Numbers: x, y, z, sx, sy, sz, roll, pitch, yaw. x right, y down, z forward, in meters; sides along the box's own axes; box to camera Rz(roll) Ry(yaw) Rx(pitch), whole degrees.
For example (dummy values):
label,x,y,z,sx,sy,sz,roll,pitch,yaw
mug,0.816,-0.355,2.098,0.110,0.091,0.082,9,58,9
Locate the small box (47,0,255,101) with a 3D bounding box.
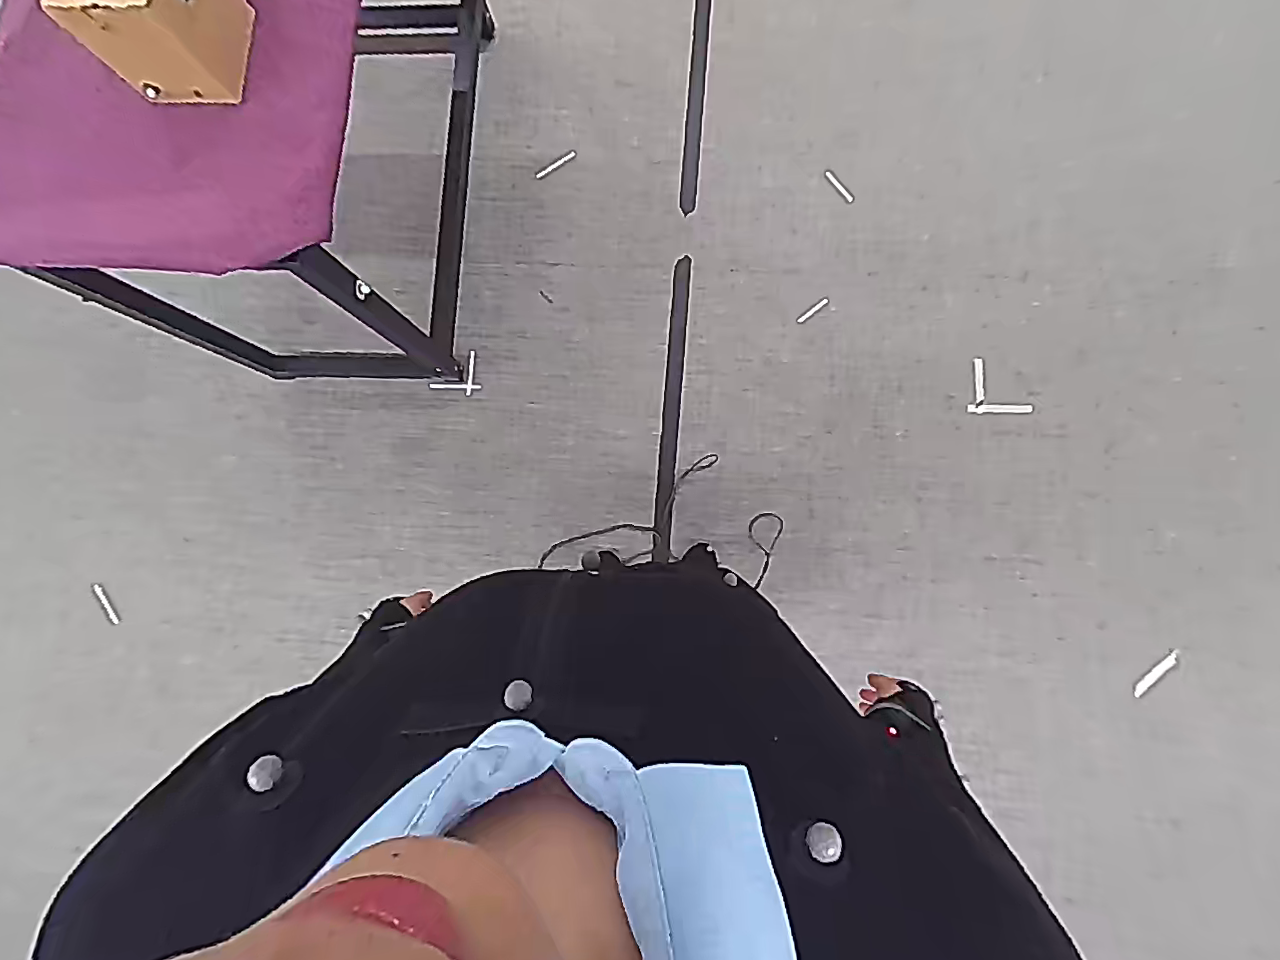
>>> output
label,x,y,z,sx,sy,sz,roll,pitch,yaw
small box,-0.748,-0.735,0.849,0.168,0.176,0.179,3,82,3
